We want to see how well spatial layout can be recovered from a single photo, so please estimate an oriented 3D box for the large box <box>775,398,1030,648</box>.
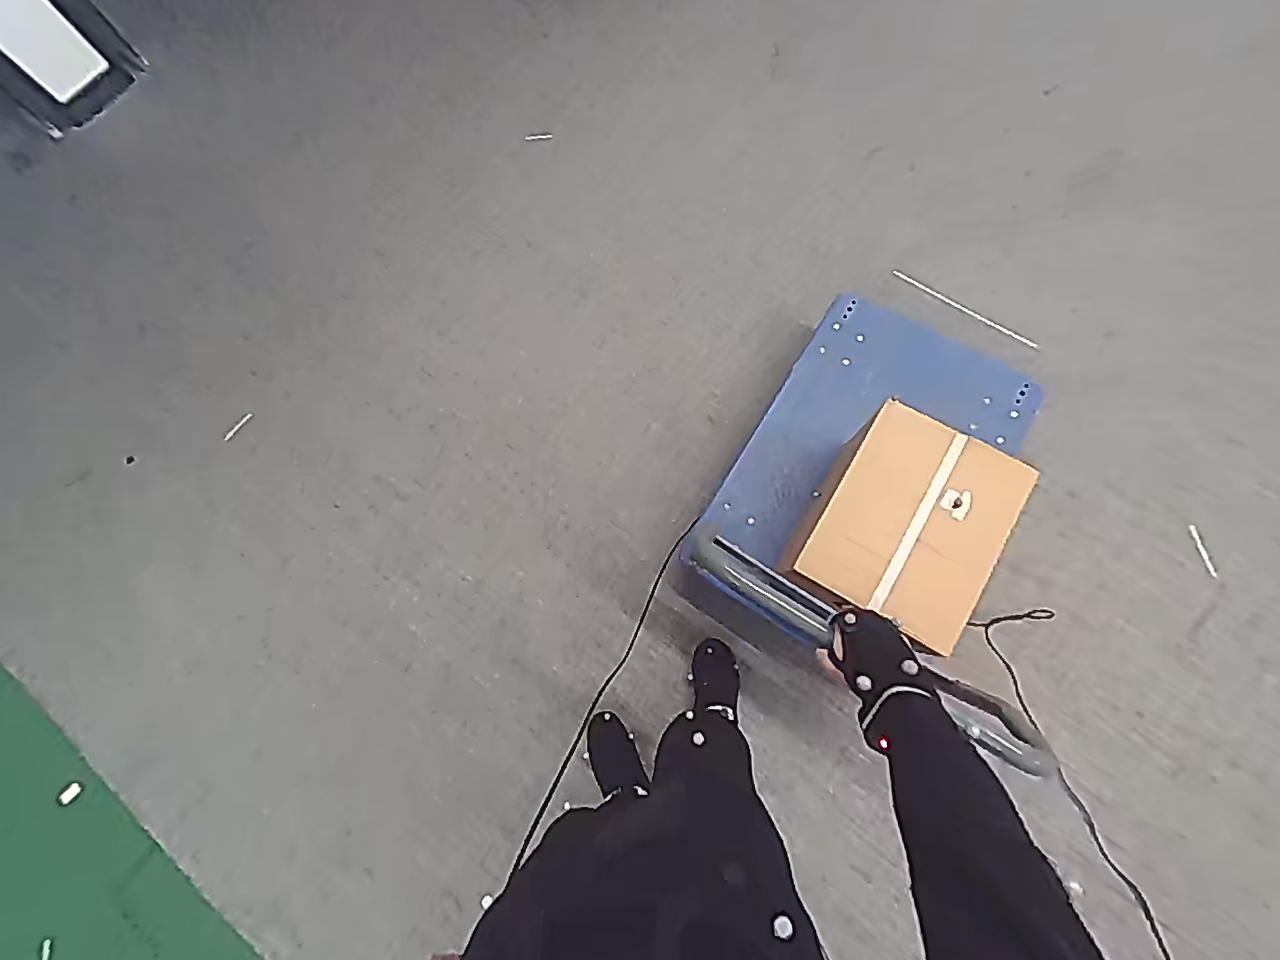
[{"bbox_3d":[0.540,0.107,1.185,0.320,0.320,0.408,30,80,10],"label":"large box"}]
